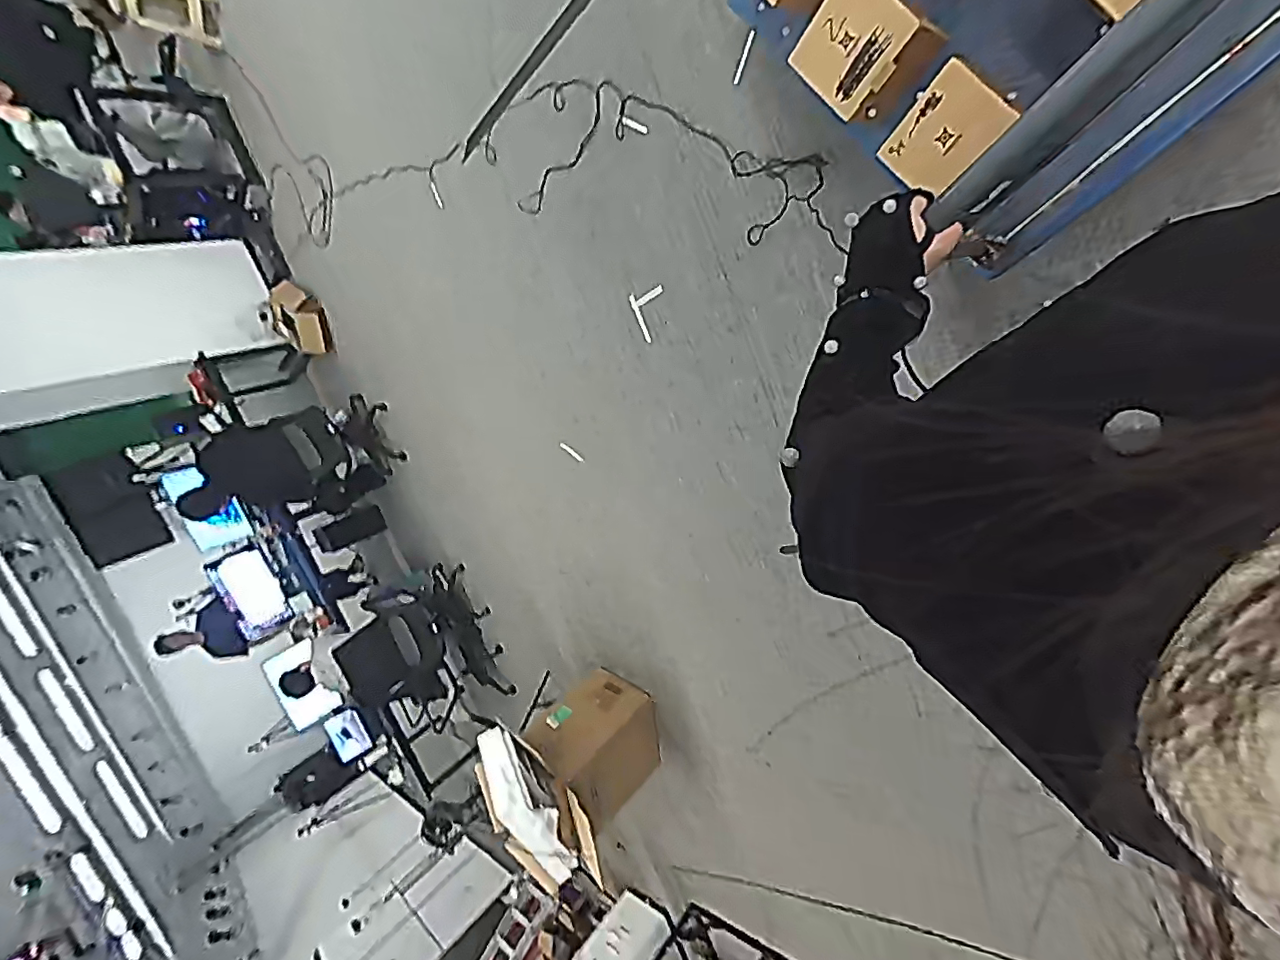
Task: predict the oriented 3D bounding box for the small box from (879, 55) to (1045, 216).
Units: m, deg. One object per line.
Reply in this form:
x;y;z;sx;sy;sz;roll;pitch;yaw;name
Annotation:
0.568;-0.599;0.951;0.179;0.176;0.168;50;137;10;small box

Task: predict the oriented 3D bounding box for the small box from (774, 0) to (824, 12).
0.286;-1.009;0.991;0.179;0.176;0.168;53;139;6;small box

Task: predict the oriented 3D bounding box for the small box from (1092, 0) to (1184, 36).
0.706;-0.747;0.731;0.179;0.176;0.168;54;138;8;small box
